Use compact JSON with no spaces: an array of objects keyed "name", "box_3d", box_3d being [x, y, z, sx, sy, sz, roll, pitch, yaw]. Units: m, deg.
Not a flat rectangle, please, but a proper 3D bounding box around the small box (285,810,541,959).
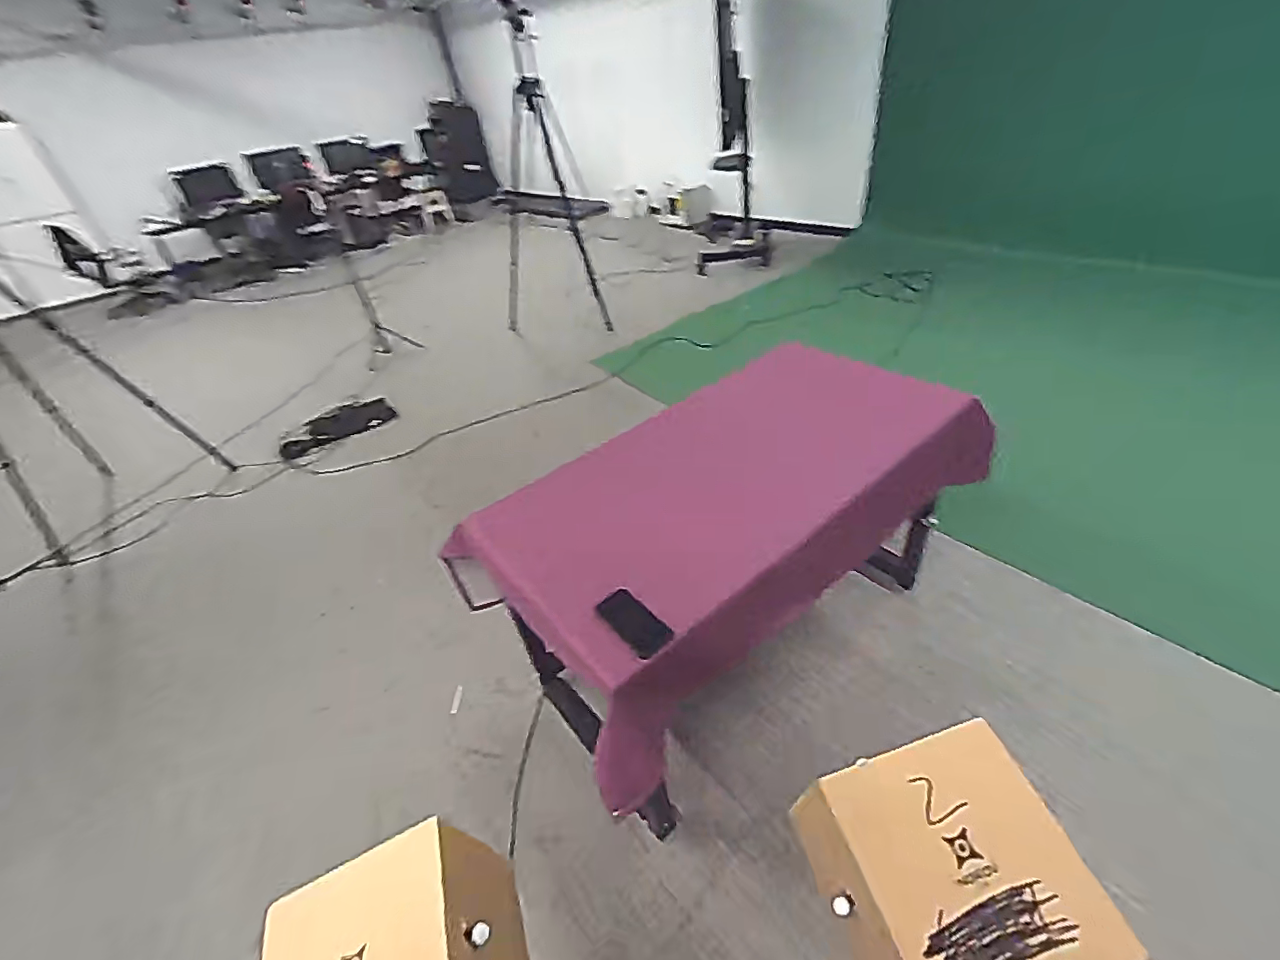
[{"name":"small box","box_3d":[-0.200,0.456,0.502,0.168,0.176,0.179,-26,42,-5]}]
